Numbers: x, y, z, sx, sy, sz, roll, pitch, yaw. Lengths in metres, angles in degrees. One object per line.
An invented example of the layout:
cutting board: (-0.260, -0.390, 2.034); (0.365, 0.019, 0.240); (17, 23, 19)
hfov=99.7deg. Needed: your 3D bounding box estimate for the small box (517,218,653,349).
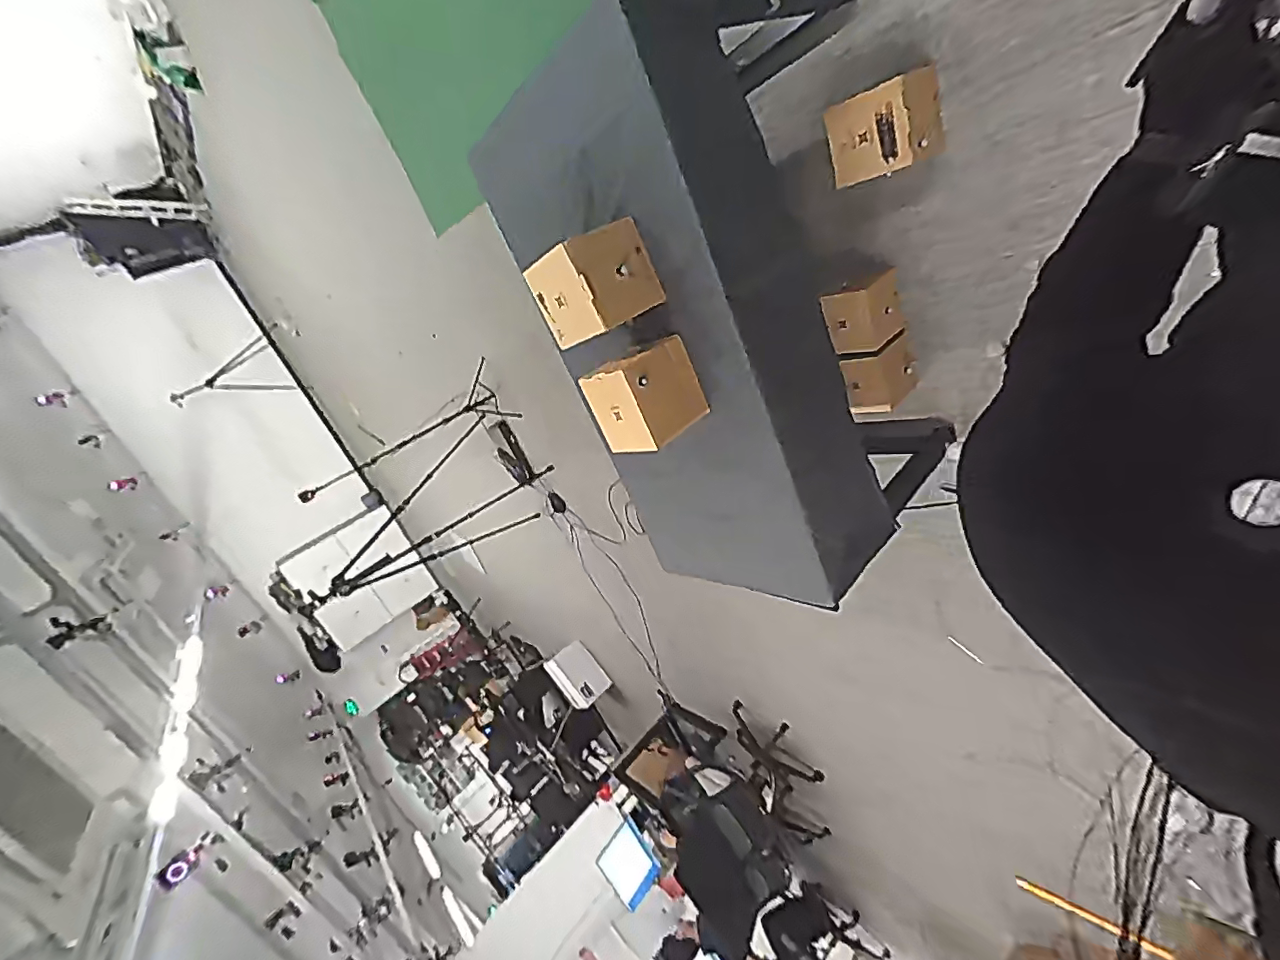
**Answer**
small box: (-0.097, -0.375, 1.036); (0.179, 0.176, 0.168); (-1, 121, 53)
